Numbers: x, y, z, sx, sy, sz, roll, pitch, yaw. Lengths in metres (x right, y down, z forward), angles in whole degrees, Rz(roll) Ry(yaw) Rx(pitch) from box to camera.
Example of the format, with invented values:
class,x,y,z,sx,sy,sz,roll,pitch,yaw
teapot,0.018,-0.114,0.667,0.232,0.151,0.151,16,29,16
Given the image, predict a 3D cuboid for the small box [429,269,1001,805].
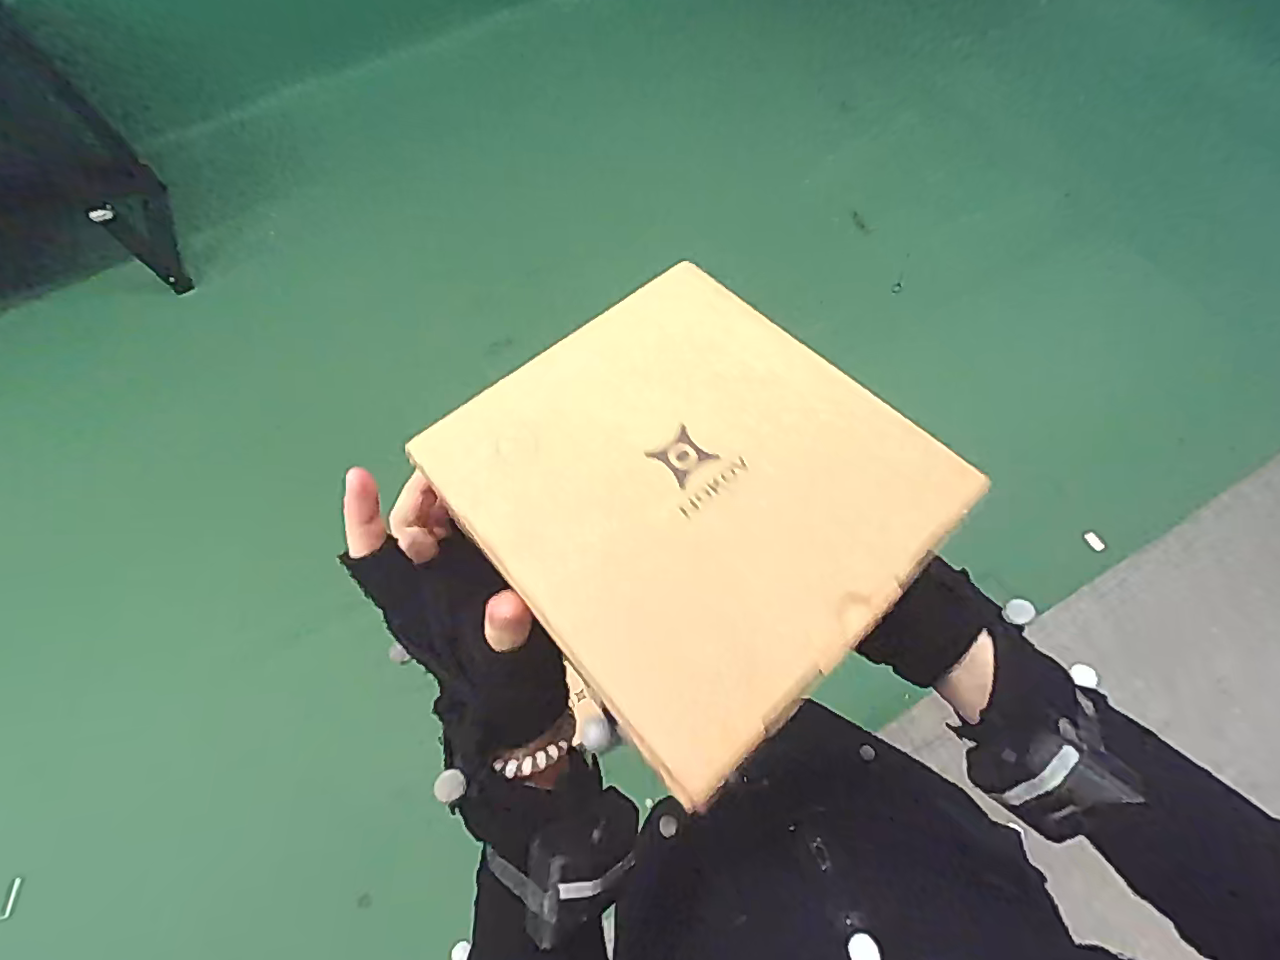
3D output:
class,x,y,z,sx,sy,sz,roll,pitch,yaw
small box,0.026,0.034,0.290,0.168,0.176,0.179,-39,71,-17
